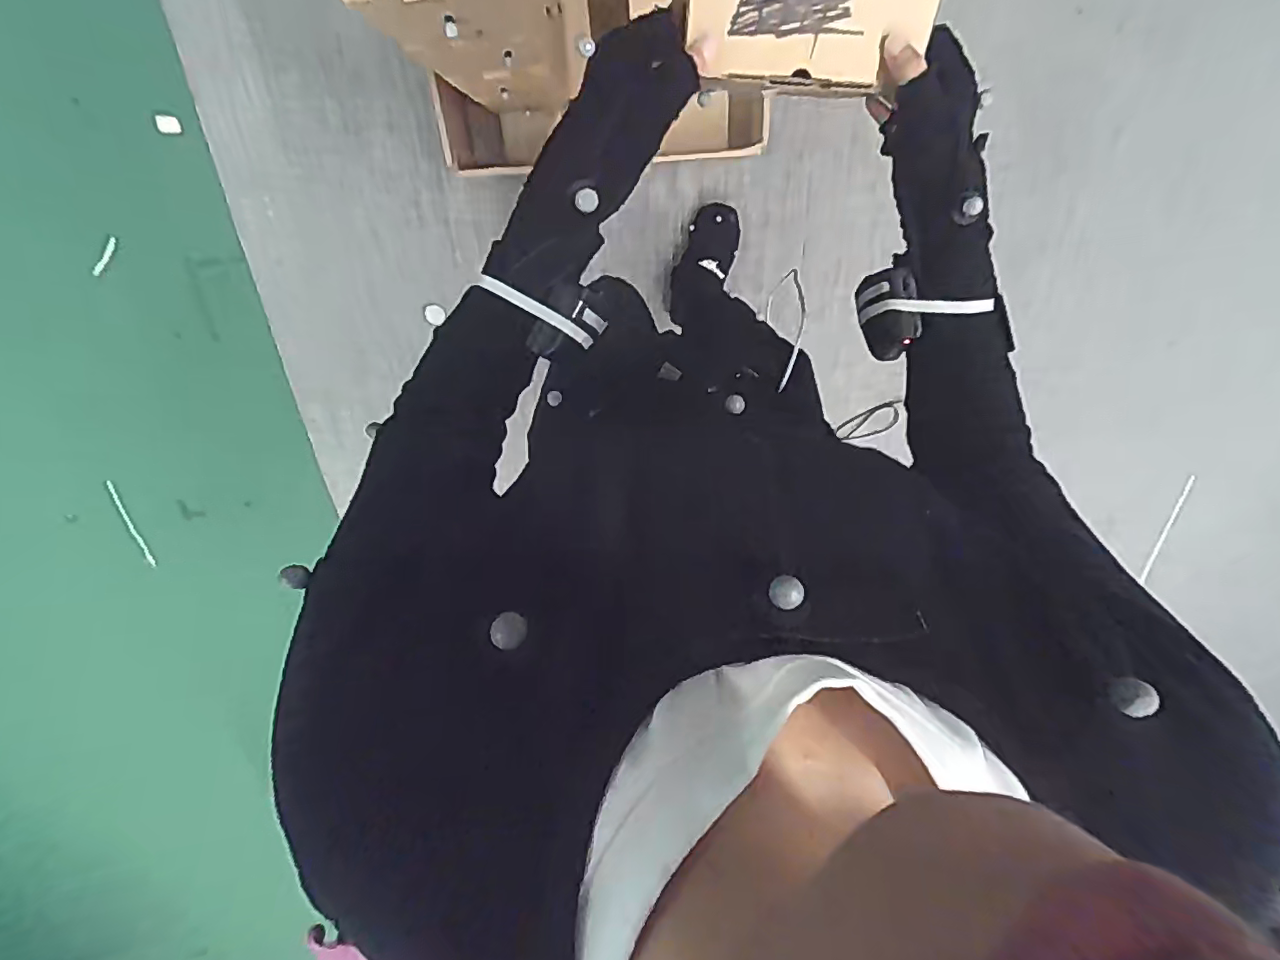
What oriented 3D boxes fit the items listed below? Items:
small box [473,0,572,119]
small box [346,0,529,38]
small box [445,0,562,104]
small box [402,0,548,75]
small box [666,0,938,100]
[{"bbox_3d":[-0.223,-0.794,1.007,0.168,0.176,0.179,-3,116,2],"label":"small box"},{"bbox_3d":[-0.221,-0.590,0.561,0.168,0.176,0.179,-7,117,1],"label":"small box"},{"bbox_3d":[-0.223,-0.725,0.860,0.168,0.176,0.179,-5,116,1],"label":"small box"},{"bbox_3d":[-0.224,-0.658,0.710,0.168,0.176,0.179,-7,116,2],"label":"small box"},{"bbox_3d":[0.114,-0.391,0.392,0.168,0.176,0.179,3,123,-6],"label":"small box"}]
